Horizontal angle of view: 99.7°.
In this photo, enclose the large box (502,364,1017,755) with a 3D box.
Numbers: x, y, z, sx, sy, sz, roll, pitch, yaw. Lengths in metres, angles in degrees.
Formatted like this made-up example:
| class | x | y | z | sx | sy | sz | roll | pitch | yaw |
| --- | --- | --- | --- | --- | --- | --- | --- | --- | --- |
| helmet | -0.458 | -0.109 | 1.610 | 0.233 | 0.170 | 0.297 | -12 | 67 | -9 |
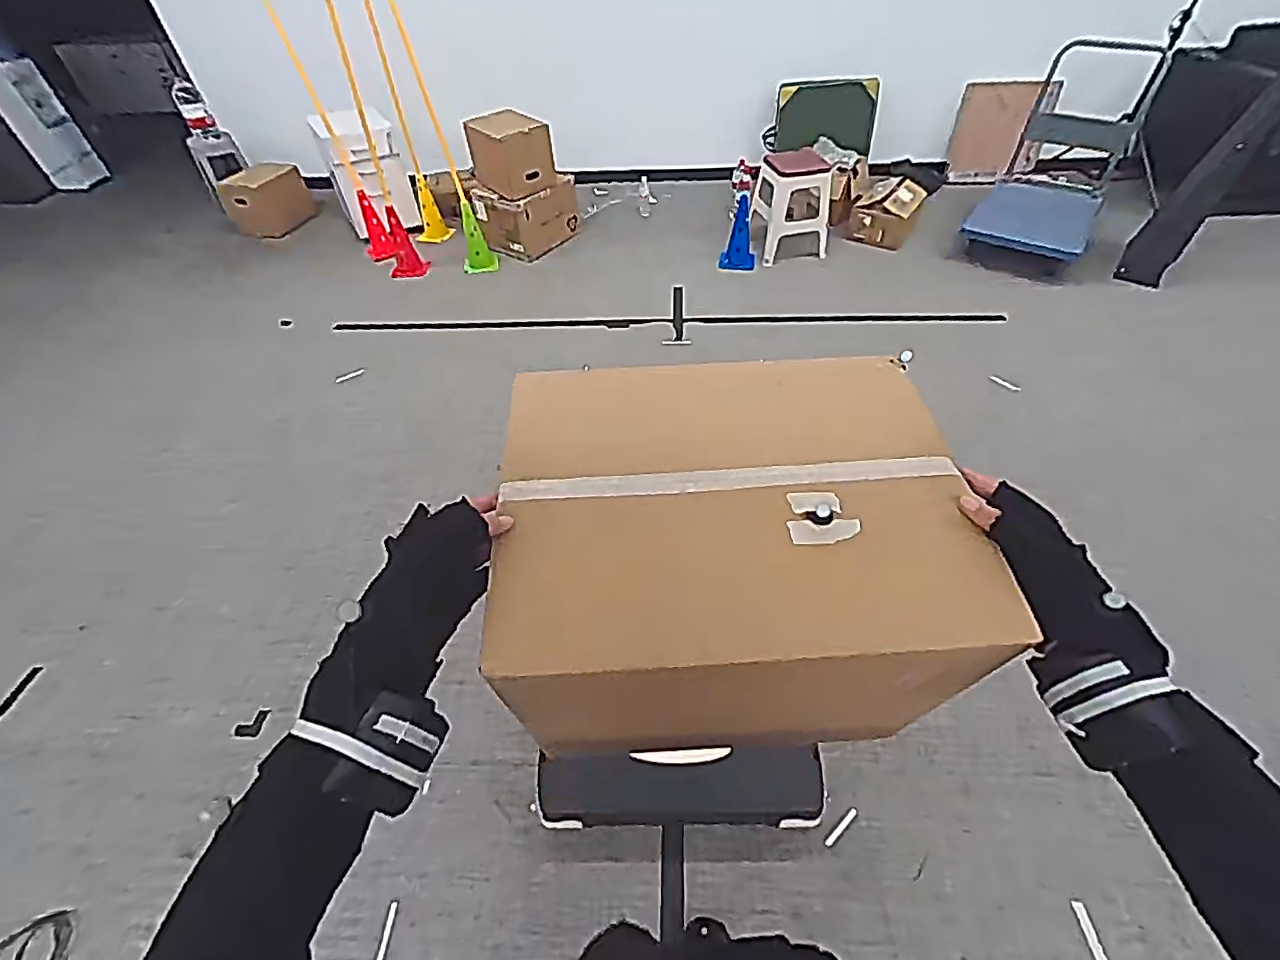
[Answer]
| class | x | y | z | sx | sy | sz | roll | pitch | yaw |
| --- | --- | --- | --- | --- | --- | --- | --- | --- | --- |
| large box | 0.082 | 0.097 | 0.611 | 0.408 | 0.320 | 0.320 | -3 | 54 | -2 |
